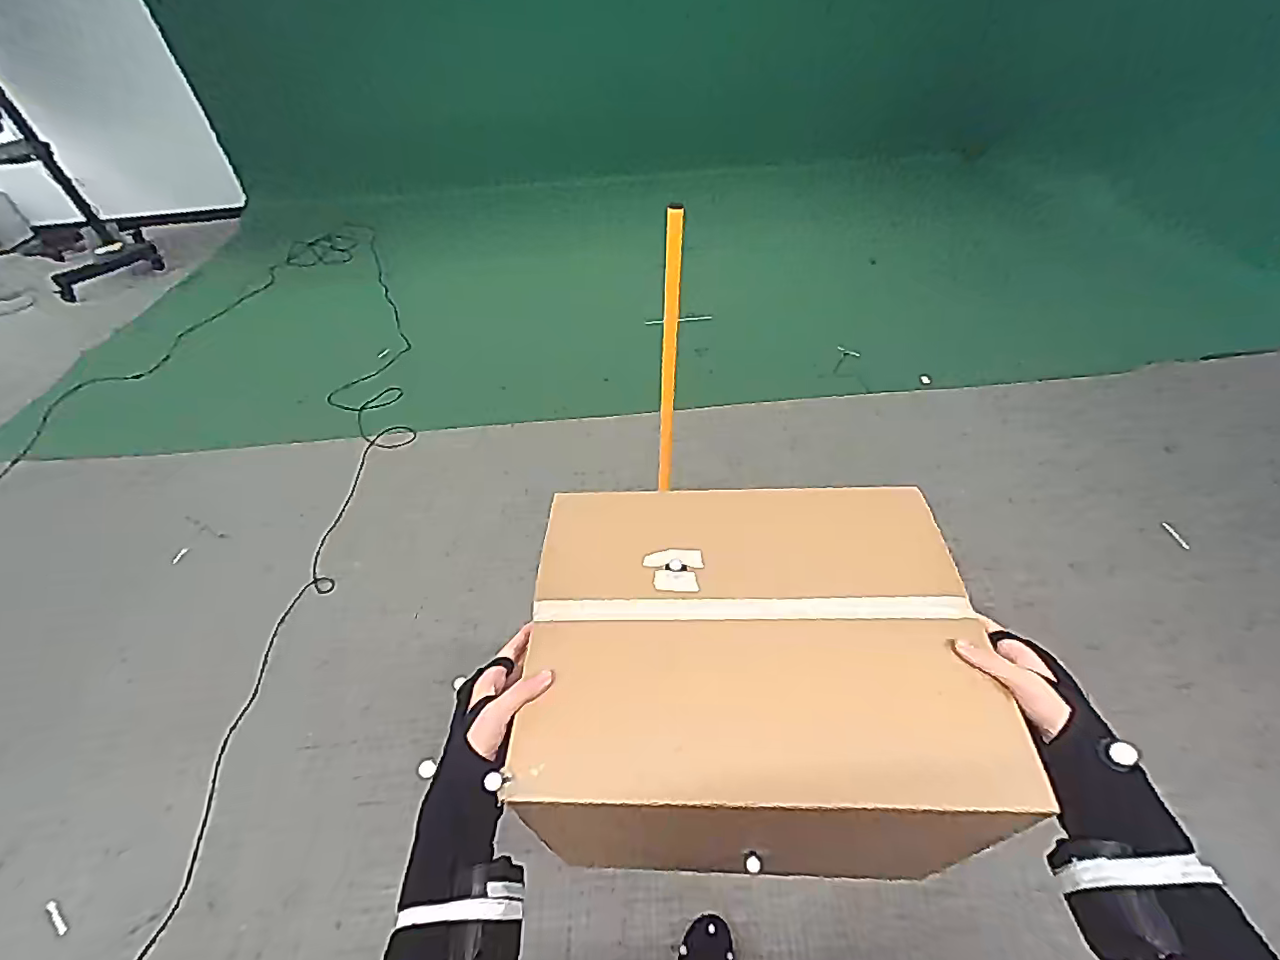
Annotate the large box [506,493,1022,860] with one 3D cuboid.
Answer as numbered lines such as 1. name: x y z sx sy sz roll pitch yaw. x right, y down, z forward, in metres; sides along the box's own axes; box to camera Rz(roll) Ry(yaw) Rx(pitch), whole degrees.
1. large box: 0.107 0.233 0.624 0.408 0.320 0.320 -1 47 5
